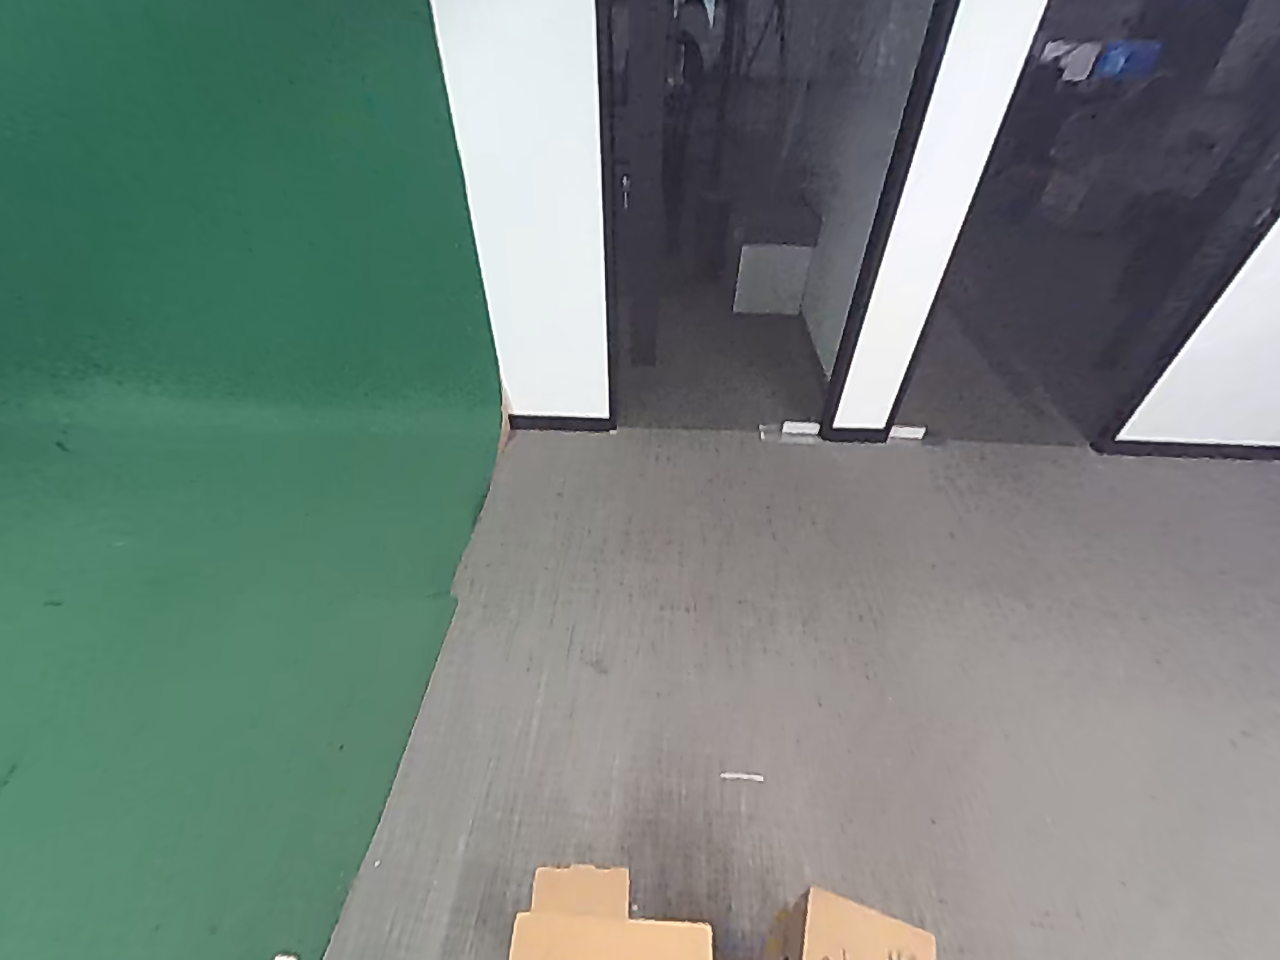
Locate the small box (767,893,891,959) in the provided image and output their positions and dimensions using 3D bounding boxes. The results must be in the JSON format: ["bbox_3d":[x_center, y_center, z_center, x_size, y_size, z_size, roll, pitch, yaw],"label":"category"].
[{"bbox_3d":[0.302,0.829,0.887,0.168,0.176,0.179,12,43,13],"label":"small box"}]

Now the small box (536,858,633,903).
[{"bbox_3d":[-0.096,0.782,0.935,0.168,0.176,0.179,0,42,0],"label":"small box"}]
